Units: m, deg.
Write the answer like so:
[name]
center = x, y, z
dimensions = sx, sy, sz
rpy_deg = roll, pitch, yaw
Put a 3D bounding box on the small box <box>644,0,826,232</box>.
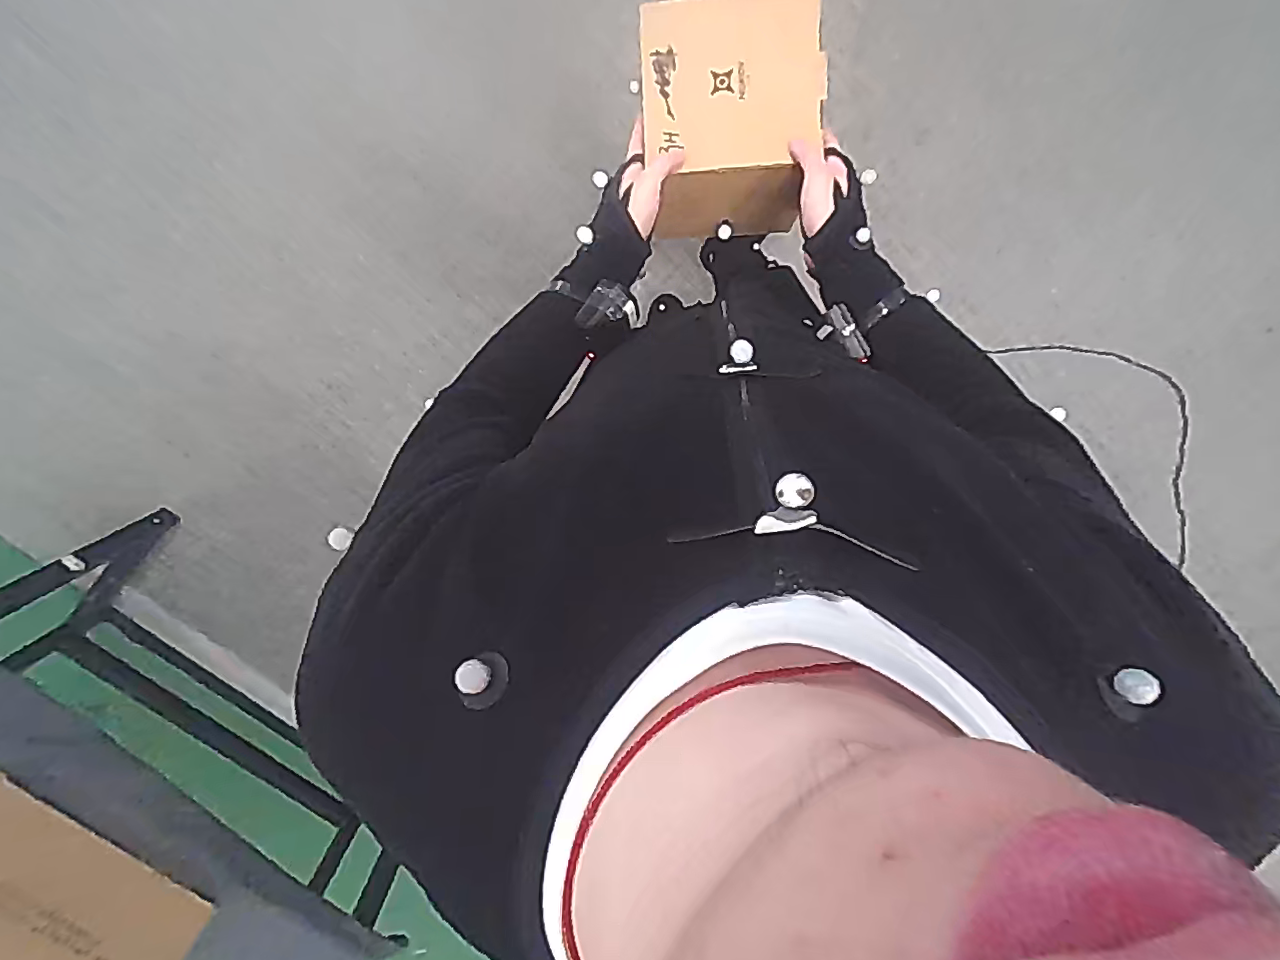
[small box]
center = 0.095, -0.394, 0.603
dimensions = 0.179, 0.176, 0.168
rpy_deg = -2, 93, 4
